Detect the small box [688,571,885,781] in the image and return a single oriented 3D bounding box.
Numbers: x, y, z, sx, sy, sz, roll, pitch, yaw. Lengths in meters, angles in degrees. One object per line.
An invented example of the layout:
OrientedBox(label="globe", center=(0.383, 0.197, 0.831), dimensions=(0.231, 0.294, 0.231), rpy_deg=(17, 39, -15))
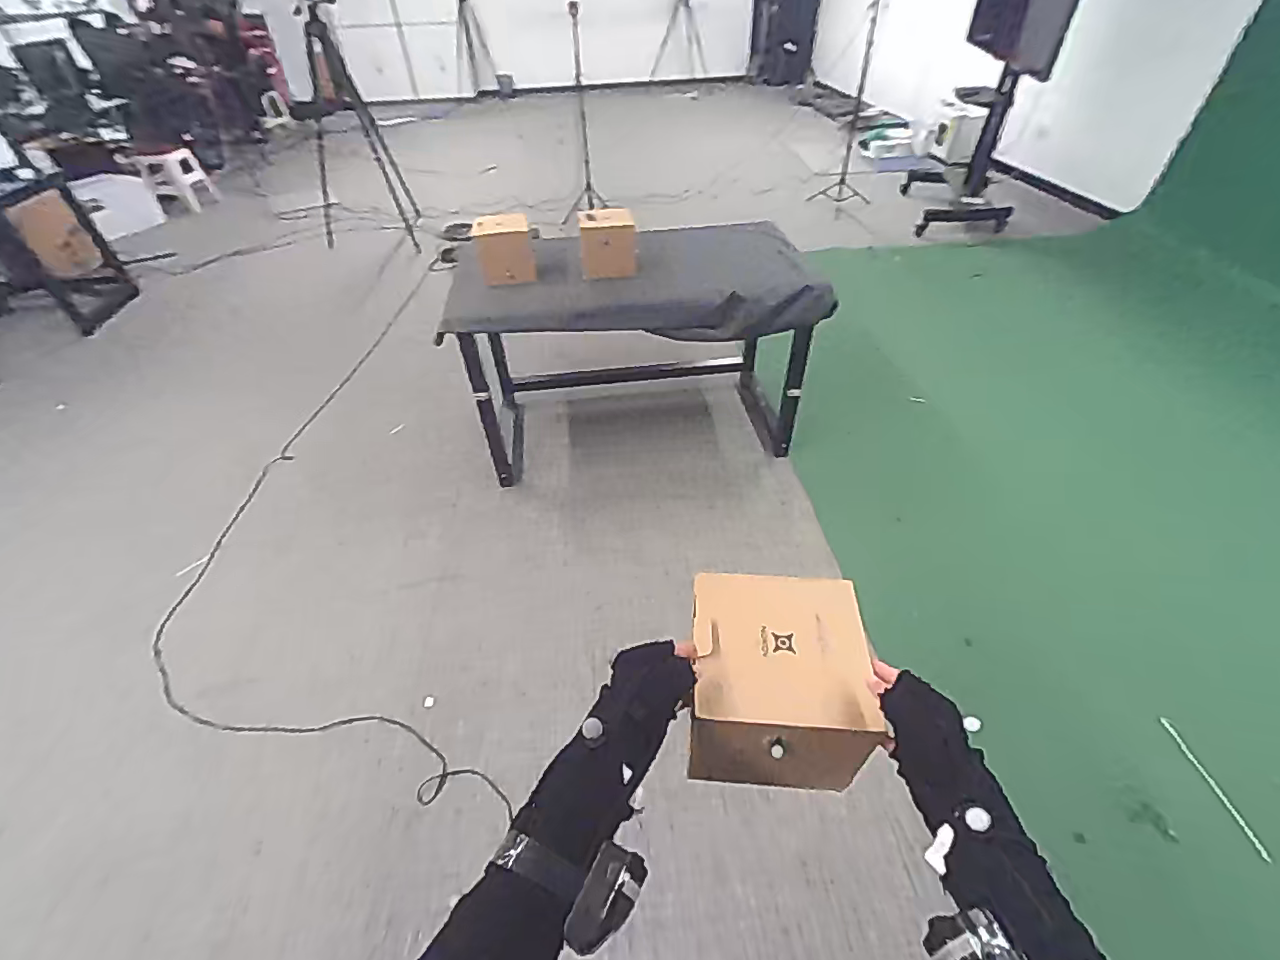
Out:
OrientedBox(label="small box", center=(0.144, 0.220, 0.606), dimensions=(0.179, 0.176, 0.168), rpy_deg=(3, 45, 3))

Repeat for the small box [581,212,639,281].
OrientedBox(label="small box", center=(-0.099, -0.780, 1.811), dimensions=(0.179, 0.176, 0.168), rpy_deg=(-6, 44, -5))

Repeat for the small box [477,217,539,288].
OrientedBox(label="small box", center=(-0.432, -0.754, 1.795), dimensions=(0.179, 0.176, 0.168), rpy_deg=(-7, 44, -7))
